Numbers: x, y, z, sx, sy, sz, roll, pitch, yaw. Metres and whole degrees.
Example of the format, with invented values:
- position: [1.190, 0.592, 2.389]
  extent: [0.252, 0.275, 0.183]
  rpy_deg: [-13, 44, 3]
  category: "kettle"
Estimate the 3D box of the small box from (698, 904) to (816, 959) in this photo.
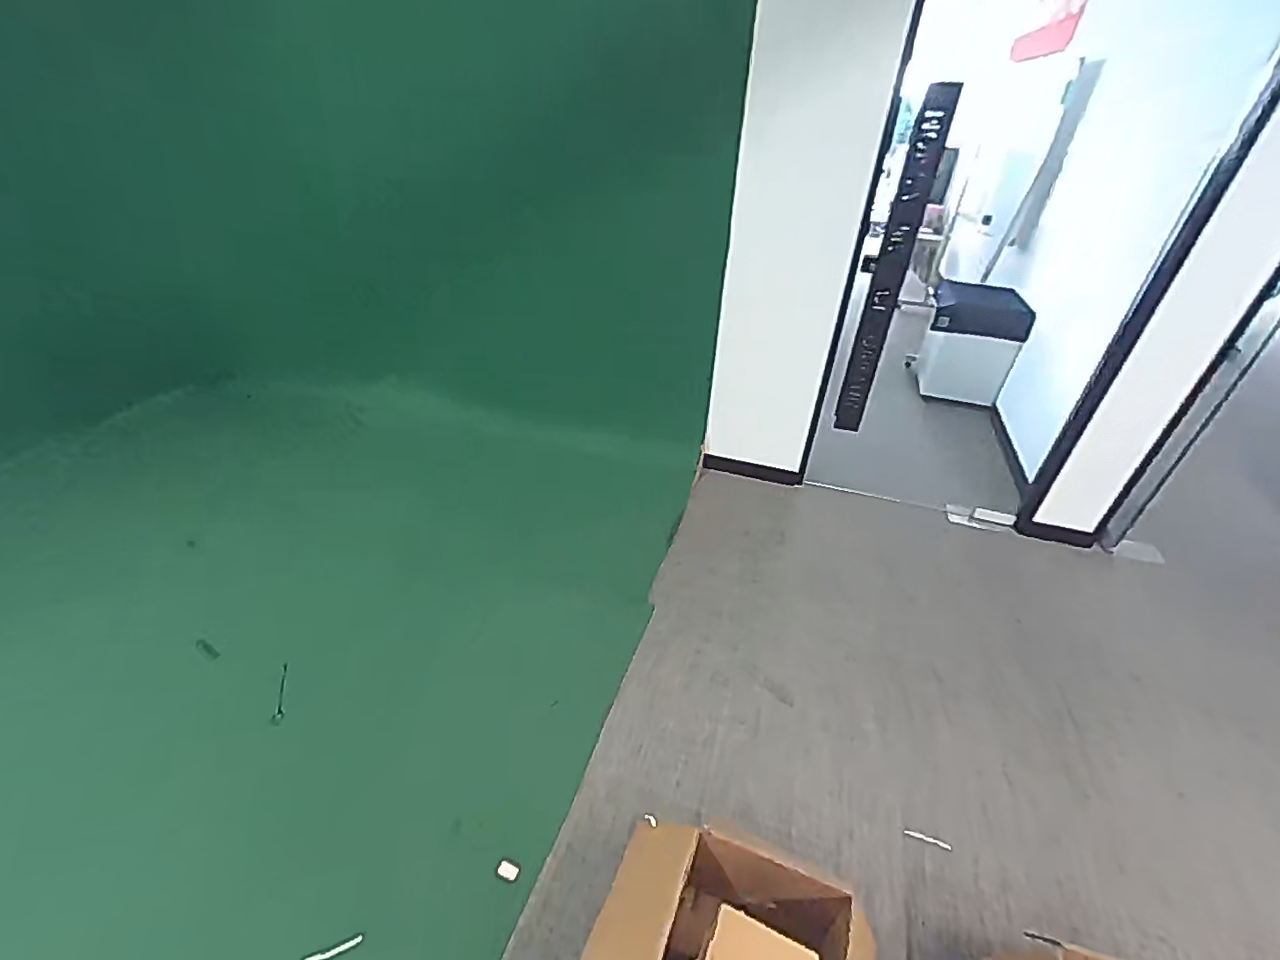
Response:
- position: [0.181, 0.882, 0.920]
  extent: [0.179, 0.176, 0.168]
  rpy_deg: [17, 37, 17]
  category: "small box"
